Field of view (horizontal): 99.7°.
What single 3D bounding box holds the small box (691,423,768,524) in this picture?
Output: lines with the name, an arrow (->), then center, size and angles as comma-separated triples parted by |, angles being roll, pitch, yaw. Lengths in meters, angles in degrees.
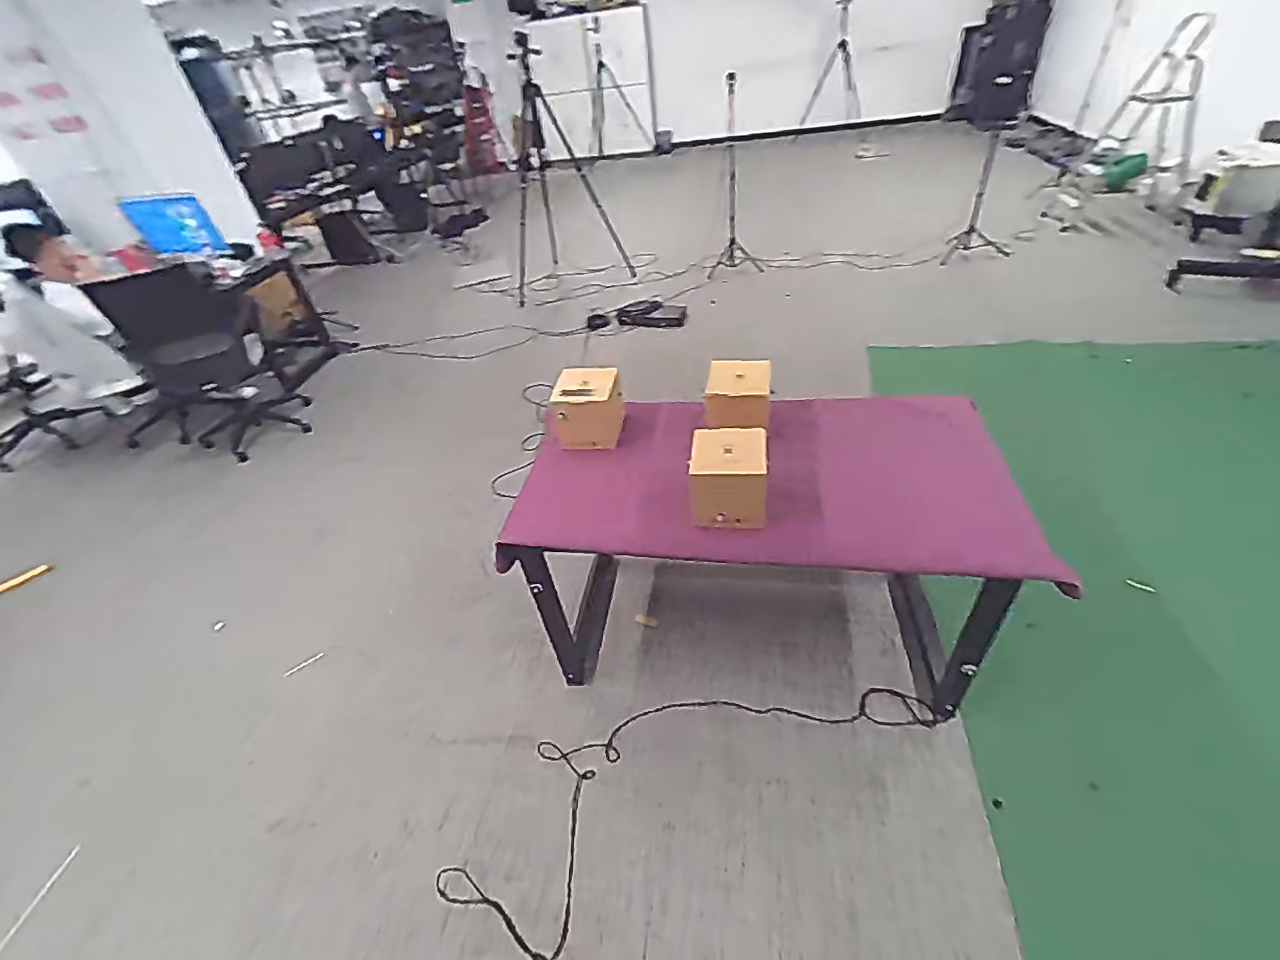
small box -> 0.216, -0.017, 1.272 | 0.168, 0.176, 0.179 | 0, 41, 13

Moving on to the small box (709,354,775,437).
small box -> 0.286, -0.233, 1.507 | 0.168, 0.176, 0.179 | 2, 44, 14
